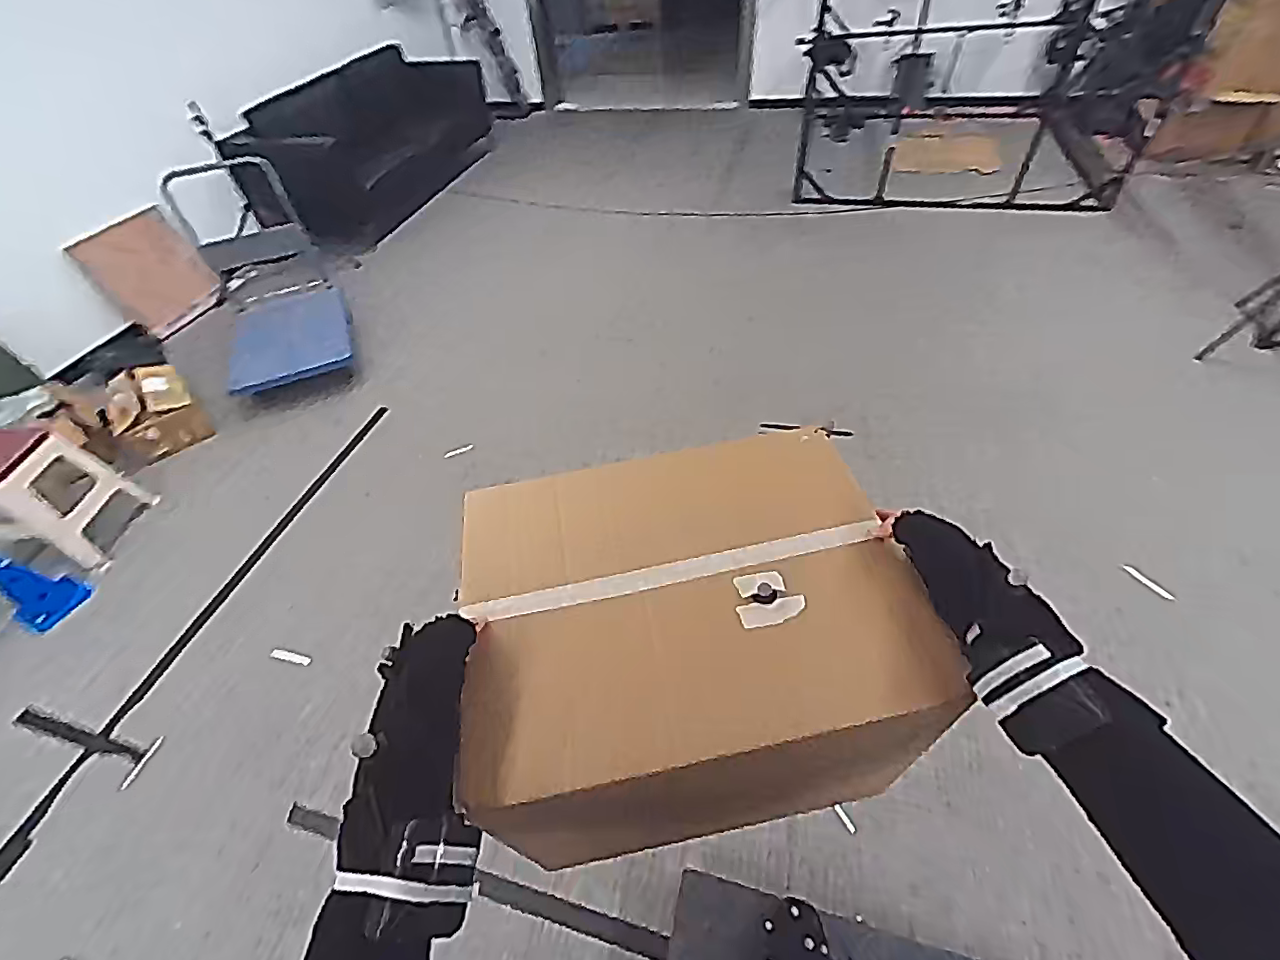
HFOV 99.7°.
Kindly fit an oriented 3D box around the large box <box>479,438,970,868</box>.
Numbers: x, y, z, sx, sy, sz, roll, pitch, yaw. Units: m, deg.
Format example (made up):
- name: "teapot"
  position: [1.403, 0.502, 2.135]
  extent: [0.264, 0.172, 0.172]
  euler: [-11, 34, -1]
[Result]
- name: "large box"
  position: [0.056, 0.198, 0.625]
  extent: [0.408, 0.320, 0.320]
  euler: [-11, 48, -4]
